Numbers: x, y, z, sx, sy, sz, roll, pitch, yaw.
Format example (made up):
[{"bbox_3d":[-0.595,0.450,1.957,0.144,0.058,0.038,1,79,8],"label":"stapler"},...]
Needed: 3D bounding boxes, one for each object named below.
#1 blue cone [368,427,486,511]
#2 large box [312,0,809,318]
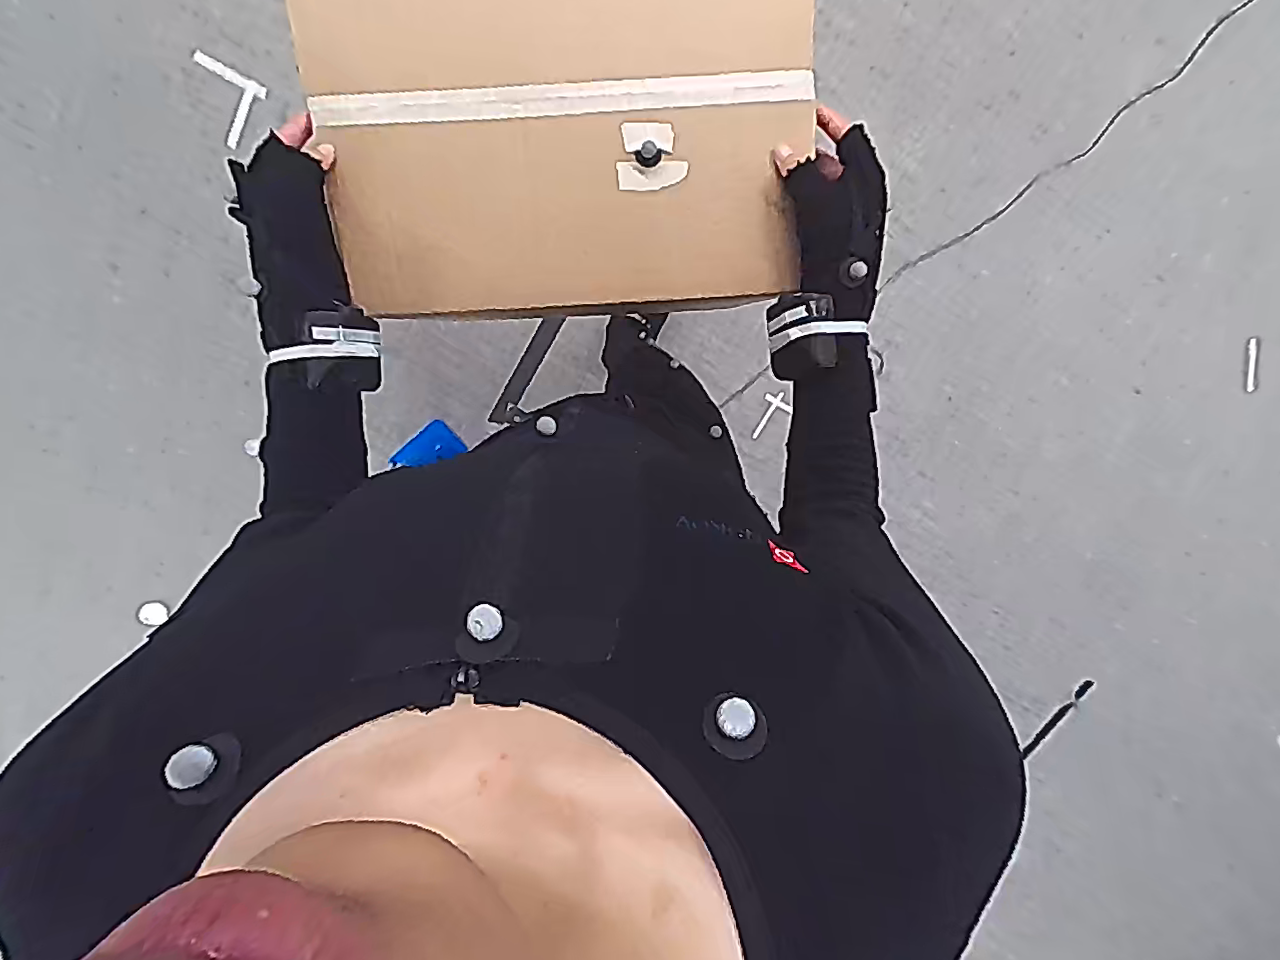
[{"bbox_3d":[-0.540,0.004,1.309,0.192,0.380,0.193,-38,98,8],"label":"blue cone"},{"bbox_3d":[-0.064,-0.358,0.593,0.408,0.320,0.320,-4,105,-1],"label":"large box"}]
